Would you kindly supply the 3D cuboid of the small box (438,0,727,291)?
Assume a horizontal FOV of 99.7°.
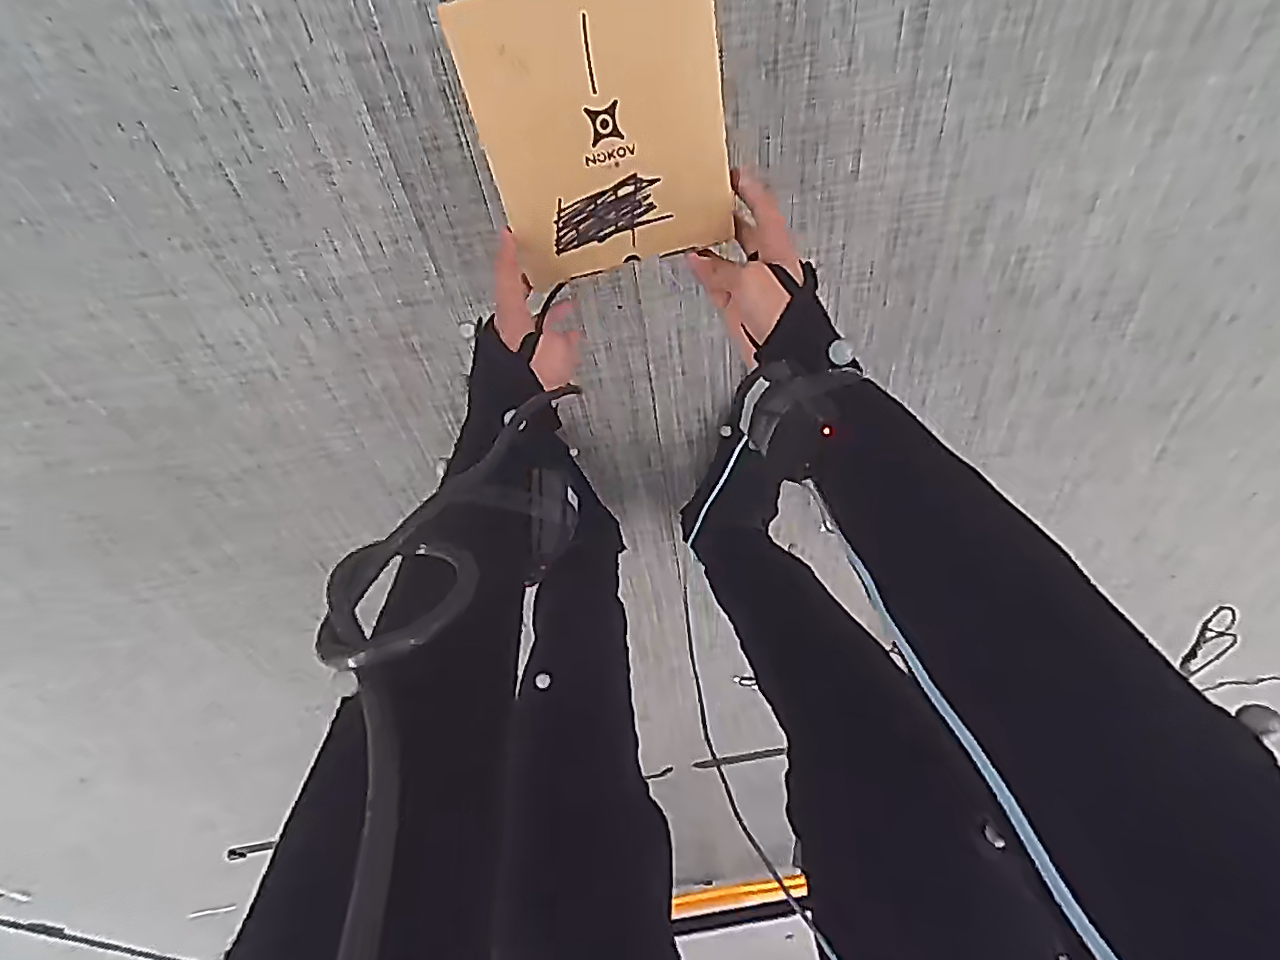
[{"bbox_3d":[-0.034,-0.280,0.431,0.168,0.176,0.179,-13,129,2],"label":"small box"}]
